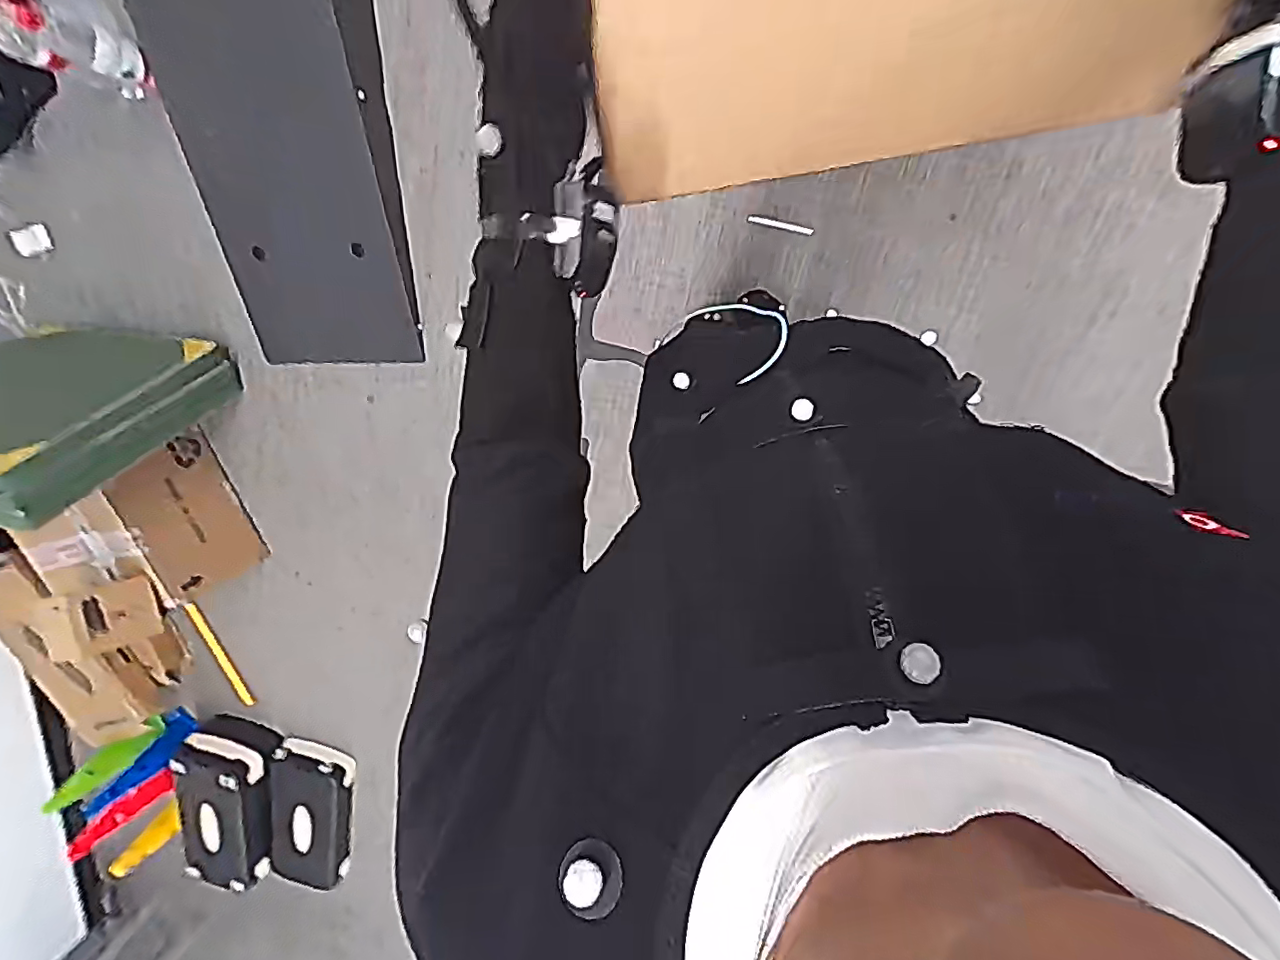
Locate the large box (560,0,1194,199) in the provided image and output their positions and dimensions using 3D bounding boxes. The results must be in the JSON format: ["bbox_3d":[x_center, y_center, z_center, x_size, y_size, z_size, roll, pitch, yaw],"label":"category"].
[{"bbox_3d":[0.144,-0.464,0.418,0.408,0.320,0.320,-5,133,12],"label":"large box"}]
